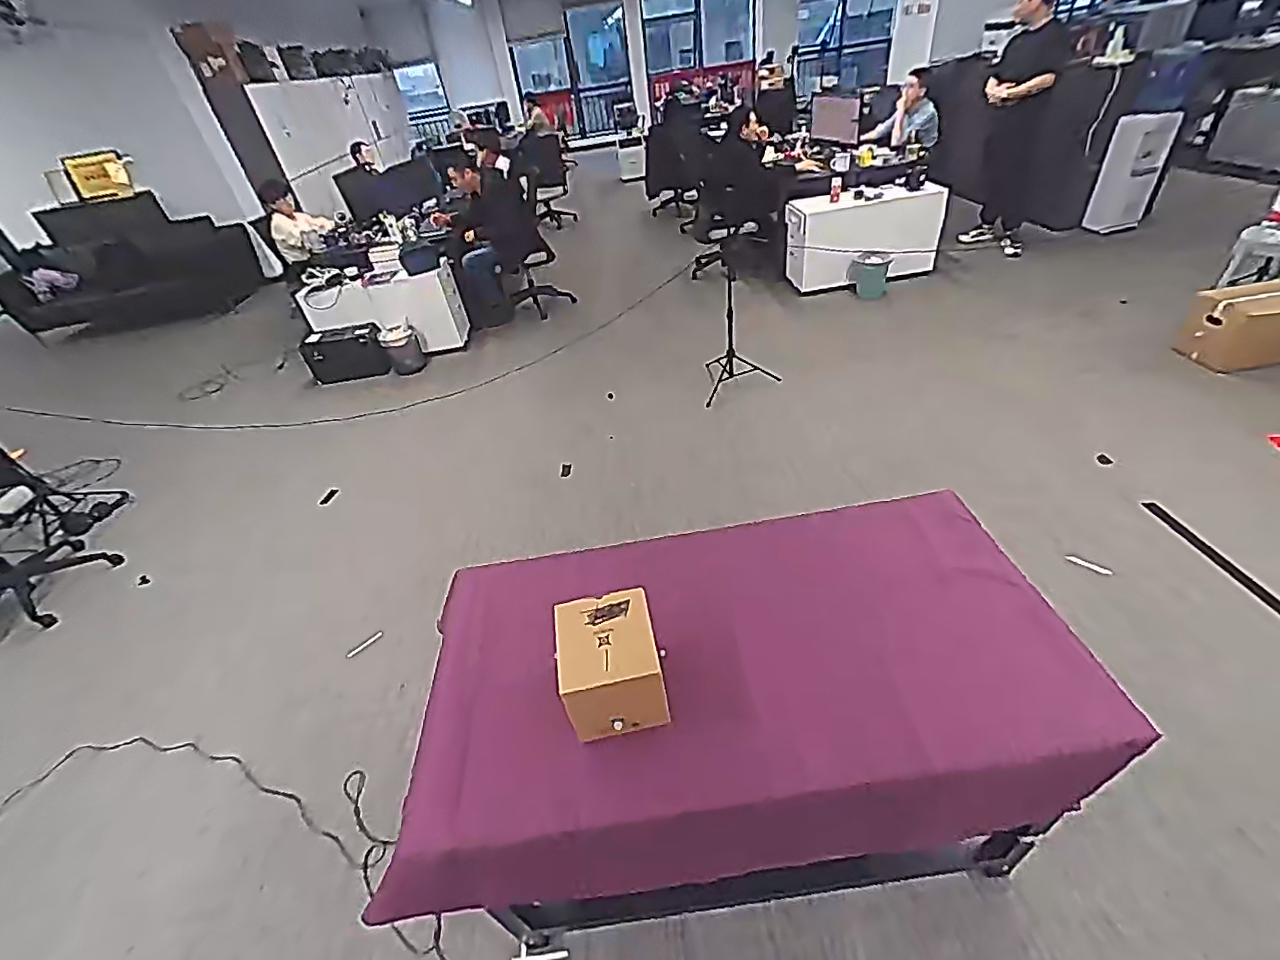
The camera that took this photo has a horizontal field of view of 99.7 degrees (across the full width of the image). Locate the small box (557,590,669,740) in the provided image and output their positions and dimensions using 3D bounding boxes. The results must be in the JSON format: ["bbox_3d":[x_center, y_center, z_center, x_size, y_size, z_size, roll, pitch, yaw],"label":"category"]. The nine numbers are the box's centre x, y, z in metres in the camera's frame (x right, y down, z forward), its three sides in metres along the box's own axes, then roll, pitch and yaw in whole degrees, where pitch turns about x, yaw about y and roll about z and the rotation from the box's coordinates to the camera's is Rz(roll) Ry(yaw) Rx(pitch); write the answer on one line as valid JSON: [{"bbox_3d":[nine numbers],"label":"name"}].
[{"bbox_3d":[-0.049,0.329,0.966,0.168,0.176,0.179,-12,39,-3],"label":"small box"}]
